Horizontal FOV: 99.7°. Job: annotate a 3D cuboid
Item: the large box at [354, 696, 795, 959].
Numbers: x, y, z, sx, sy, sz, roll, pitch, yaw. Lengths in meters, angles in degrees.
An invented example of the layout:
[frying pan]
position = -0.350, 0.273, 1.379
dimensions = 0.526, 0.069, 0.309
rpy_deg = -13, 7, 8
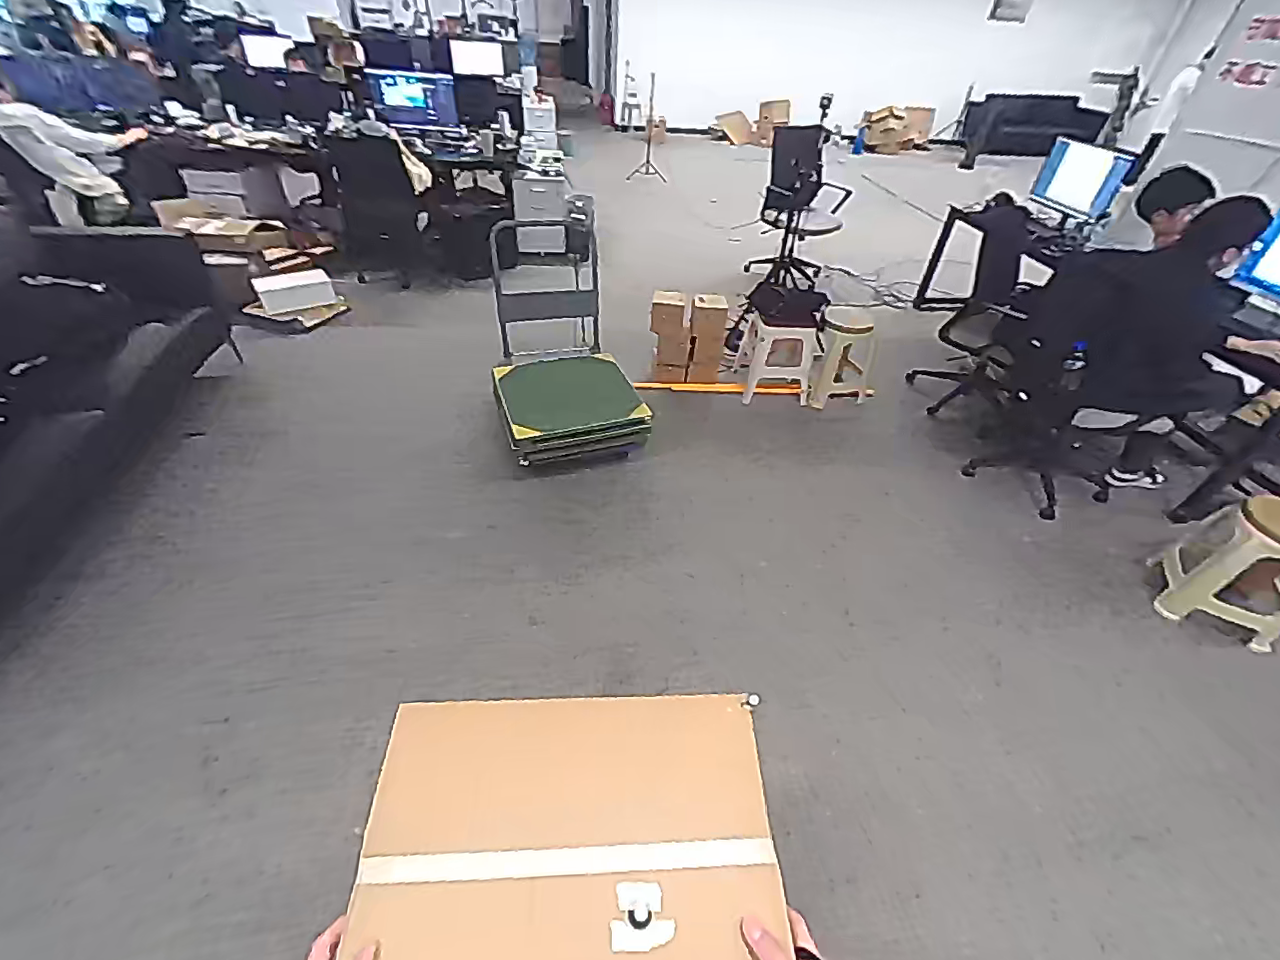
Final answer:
[large box]
position = -0.069, 0.478, 0.645
dimensions = 0.408, 0.320, 0.320
rpy_deg = -1, 49, -4
